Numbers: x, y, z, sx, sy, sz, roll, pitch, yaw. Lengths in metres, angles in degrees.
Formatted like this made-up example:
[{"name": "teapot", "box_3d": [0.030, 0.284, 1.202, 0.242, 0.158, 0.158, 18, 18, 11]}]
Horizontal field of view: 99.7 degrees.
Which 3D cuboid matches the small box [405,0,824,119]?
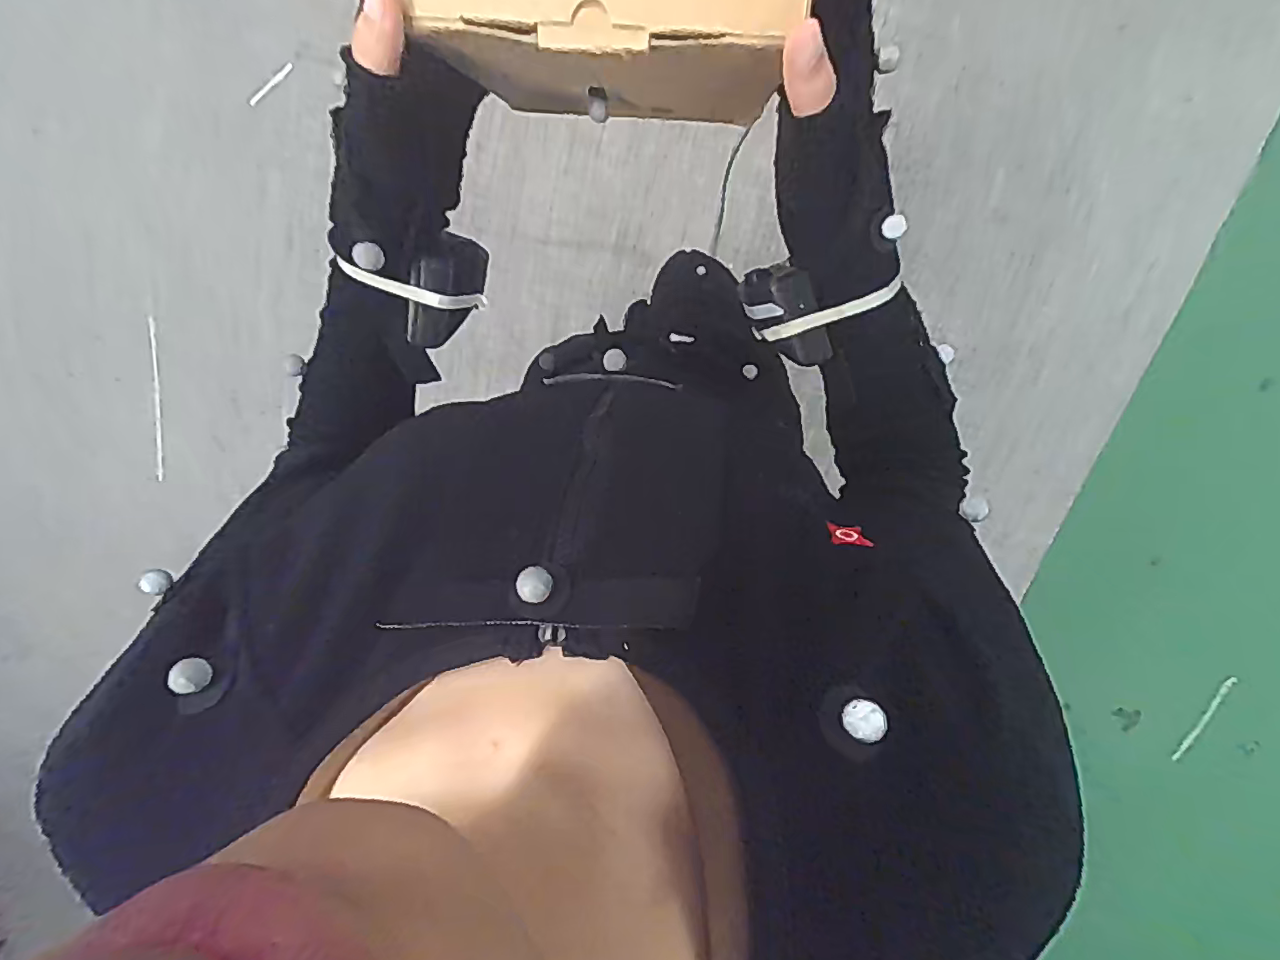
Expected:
[{"name": "small box", "box_3d": [-0.002, -0.286, 0.245, 0.168, 0.176, 0.179, 5, 116, 3]}]
